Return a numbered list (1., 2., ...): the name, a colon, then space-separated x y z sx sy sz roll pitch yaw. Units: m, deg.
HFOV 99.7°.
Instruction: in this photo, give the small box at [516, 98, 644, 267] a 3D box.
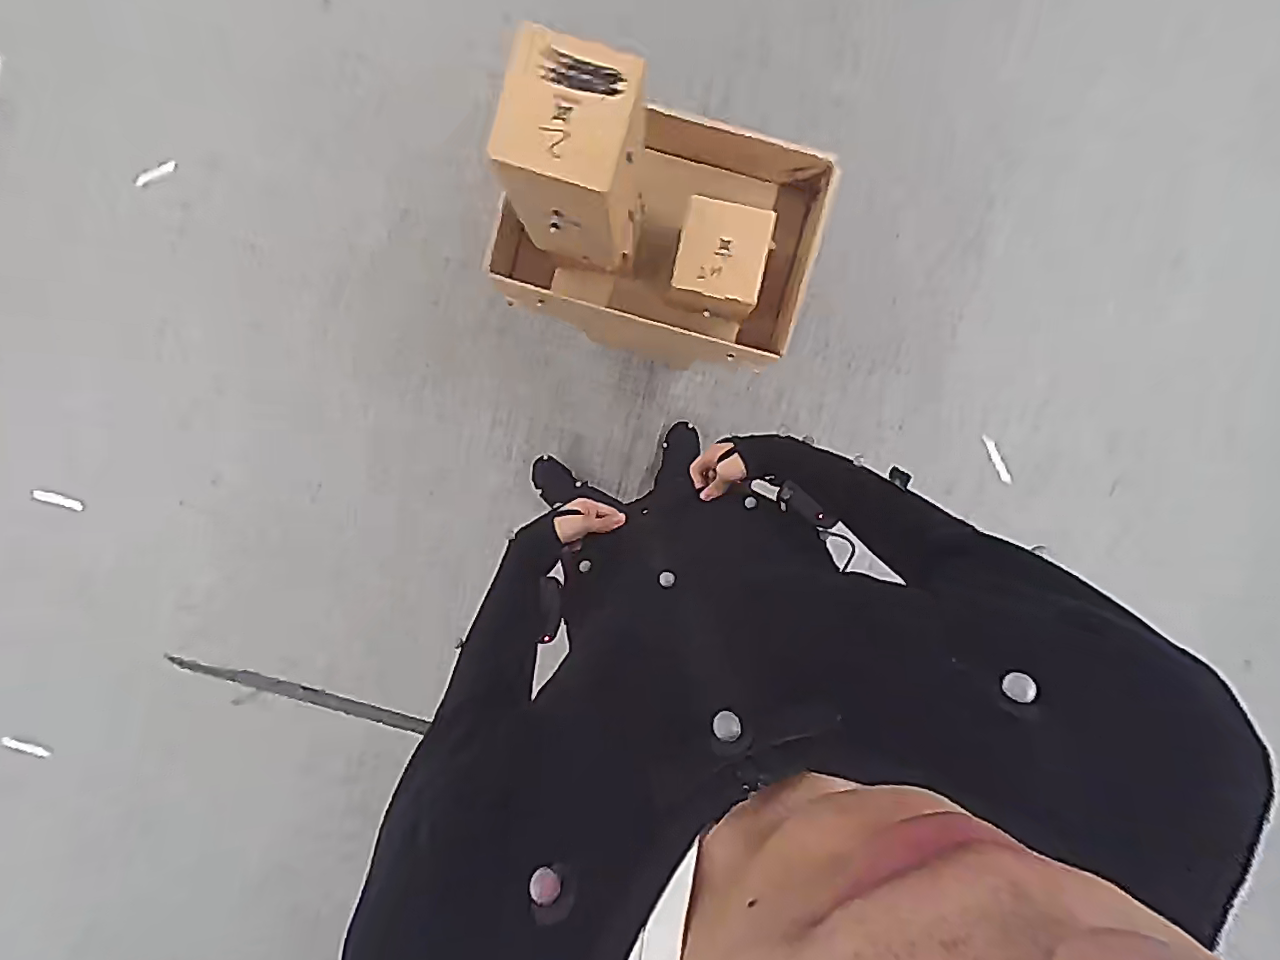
1. small box: -0.096 -0.498 0.929 0.168 0.176 0.179 16 93 -1
